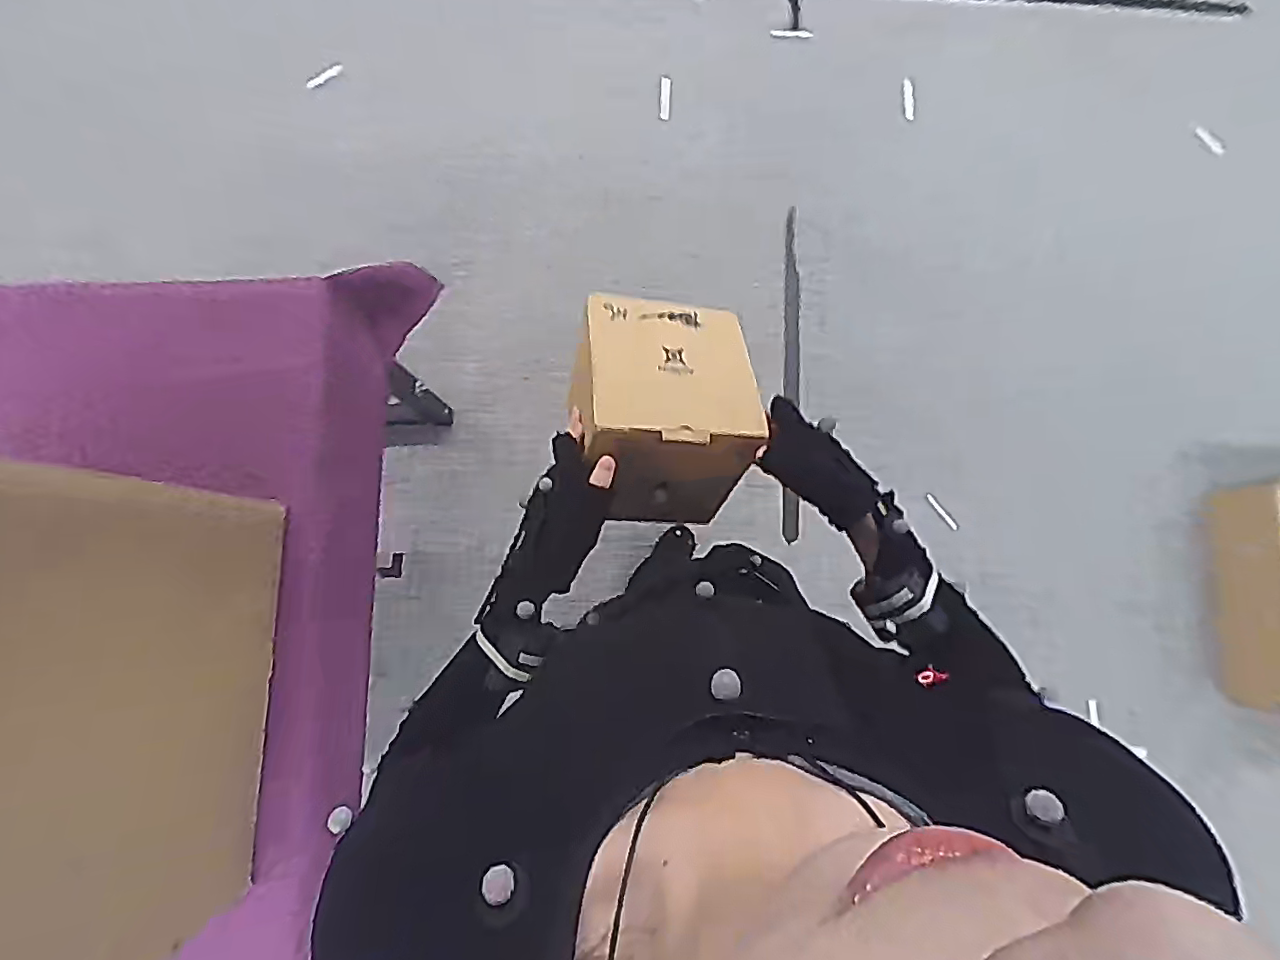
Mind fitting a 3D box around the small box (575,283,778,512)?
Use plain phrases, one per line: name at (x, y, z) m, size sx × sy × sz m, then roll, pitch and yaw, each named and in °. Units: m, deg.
small box at (0.023, -0.077, 0.575) m, size 0.168 × 0.176 × 0.179 m, roll 2°, pitch 58°, yaw -14°
